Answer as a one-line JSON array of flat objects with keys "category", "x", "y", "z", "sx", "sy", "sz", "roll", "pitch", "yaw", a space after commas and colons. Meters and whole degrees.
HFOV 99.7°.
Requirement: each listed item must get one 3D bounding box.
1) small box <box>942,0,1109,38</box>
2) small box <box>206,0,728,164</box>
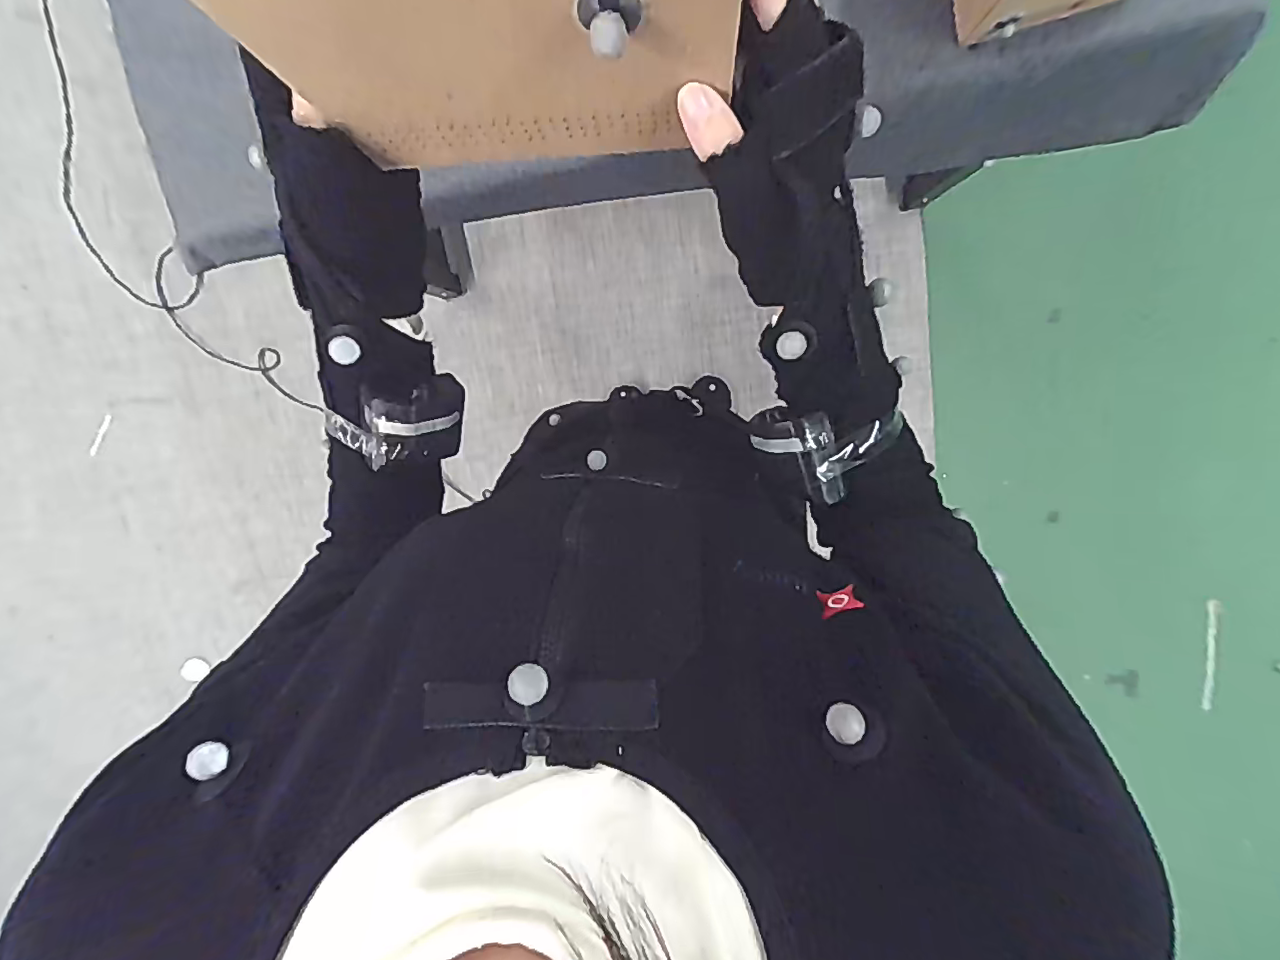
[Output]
[{"category": "small box", "x": 0.383, "y": -0.540, "z": 0.478, "sx": 0.168, "sy": 0.176, "sz": 0.179, "roll": -12, "pitch": 99, "yaw": 6}, {"category": "small box", "x": -0.056, "y": -0.239, "z": 0.187, "sx": 0.179, "sy": 0.176, "sz": 0.168, "roll": -2, "pitch": 92, "yaw": 6}]
